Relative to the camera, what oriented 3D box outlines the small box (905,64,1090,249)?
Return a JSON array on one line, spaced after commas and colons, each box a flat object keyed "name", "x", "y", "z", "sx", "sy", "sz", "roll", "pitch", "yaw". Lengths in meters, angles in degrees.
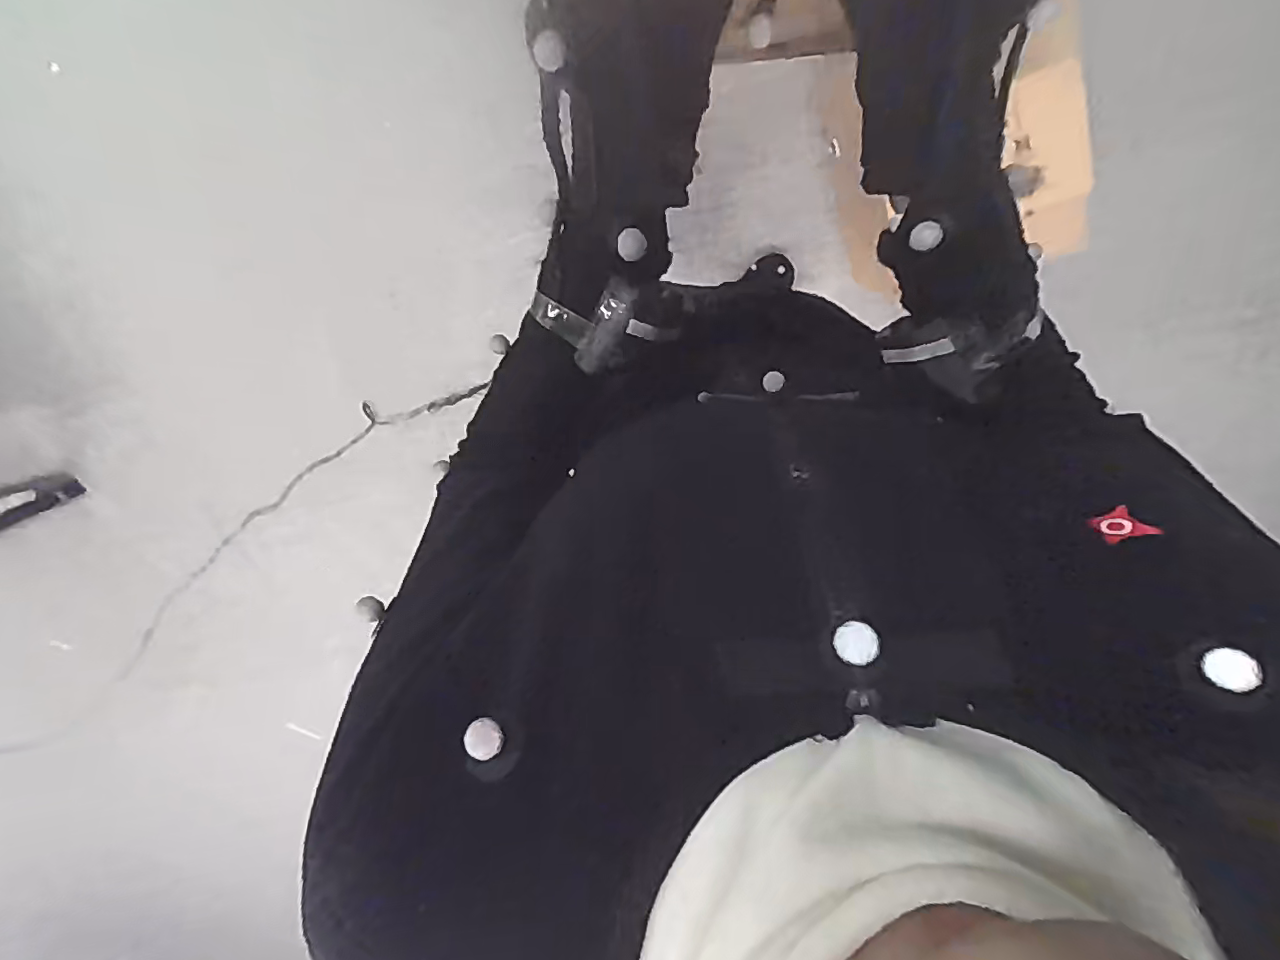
[{"name": "small box", "x": 0.528, "y": -0.474, "z": 0.815, "sx": 0.168, "sy": 0.176, "sz": 0.179, "roll": -21, "pitch": 112, "yaw": 14}]
